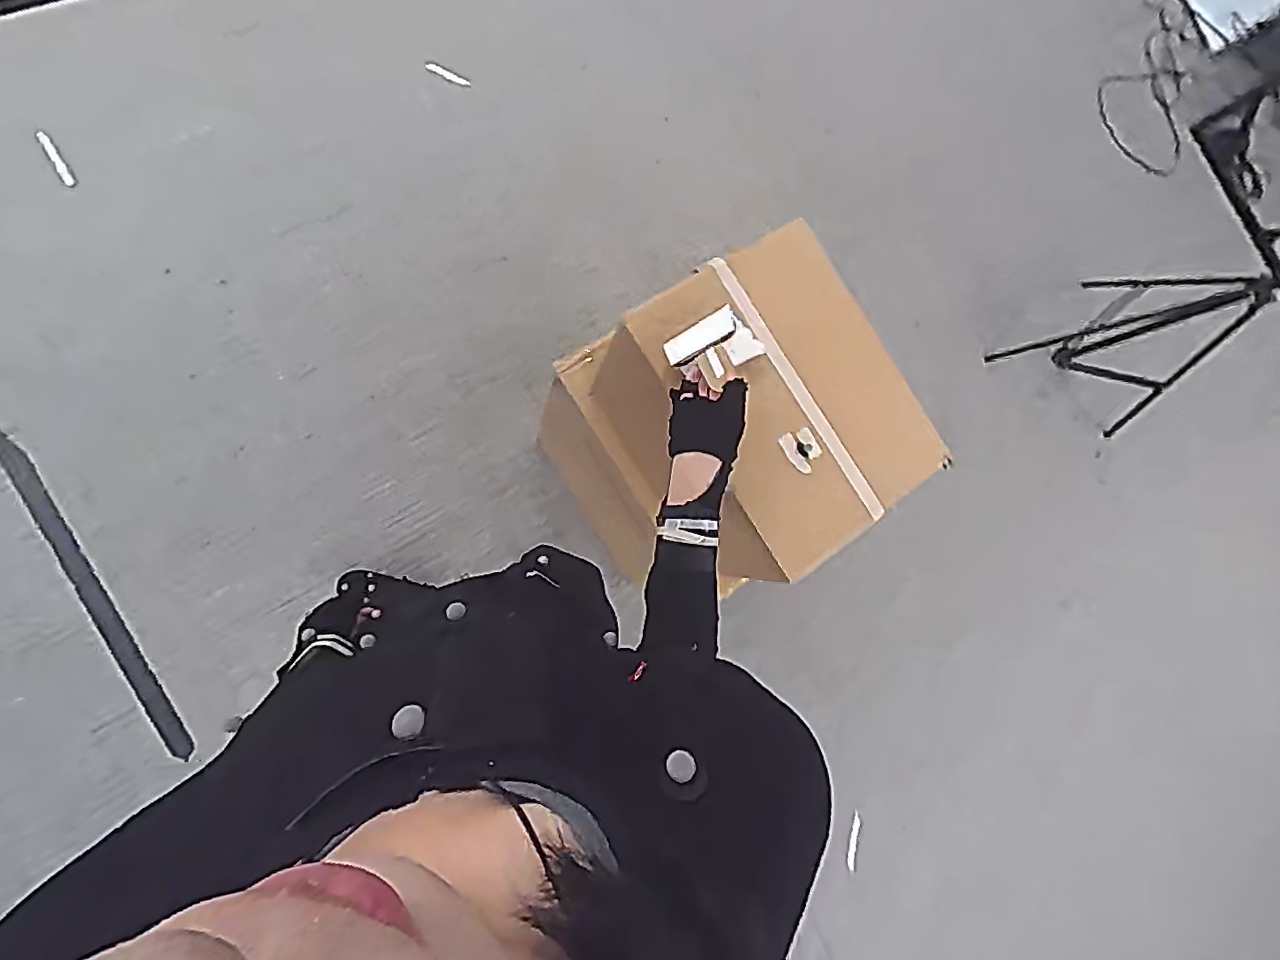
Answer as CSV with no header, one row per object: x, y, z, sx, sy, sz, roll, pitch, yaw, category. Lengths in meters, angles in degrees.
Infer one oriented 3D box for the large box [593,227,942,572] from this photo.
0.174,-0.104,0.880,0.320,0.320,0.408,-33,91,-15,large box
